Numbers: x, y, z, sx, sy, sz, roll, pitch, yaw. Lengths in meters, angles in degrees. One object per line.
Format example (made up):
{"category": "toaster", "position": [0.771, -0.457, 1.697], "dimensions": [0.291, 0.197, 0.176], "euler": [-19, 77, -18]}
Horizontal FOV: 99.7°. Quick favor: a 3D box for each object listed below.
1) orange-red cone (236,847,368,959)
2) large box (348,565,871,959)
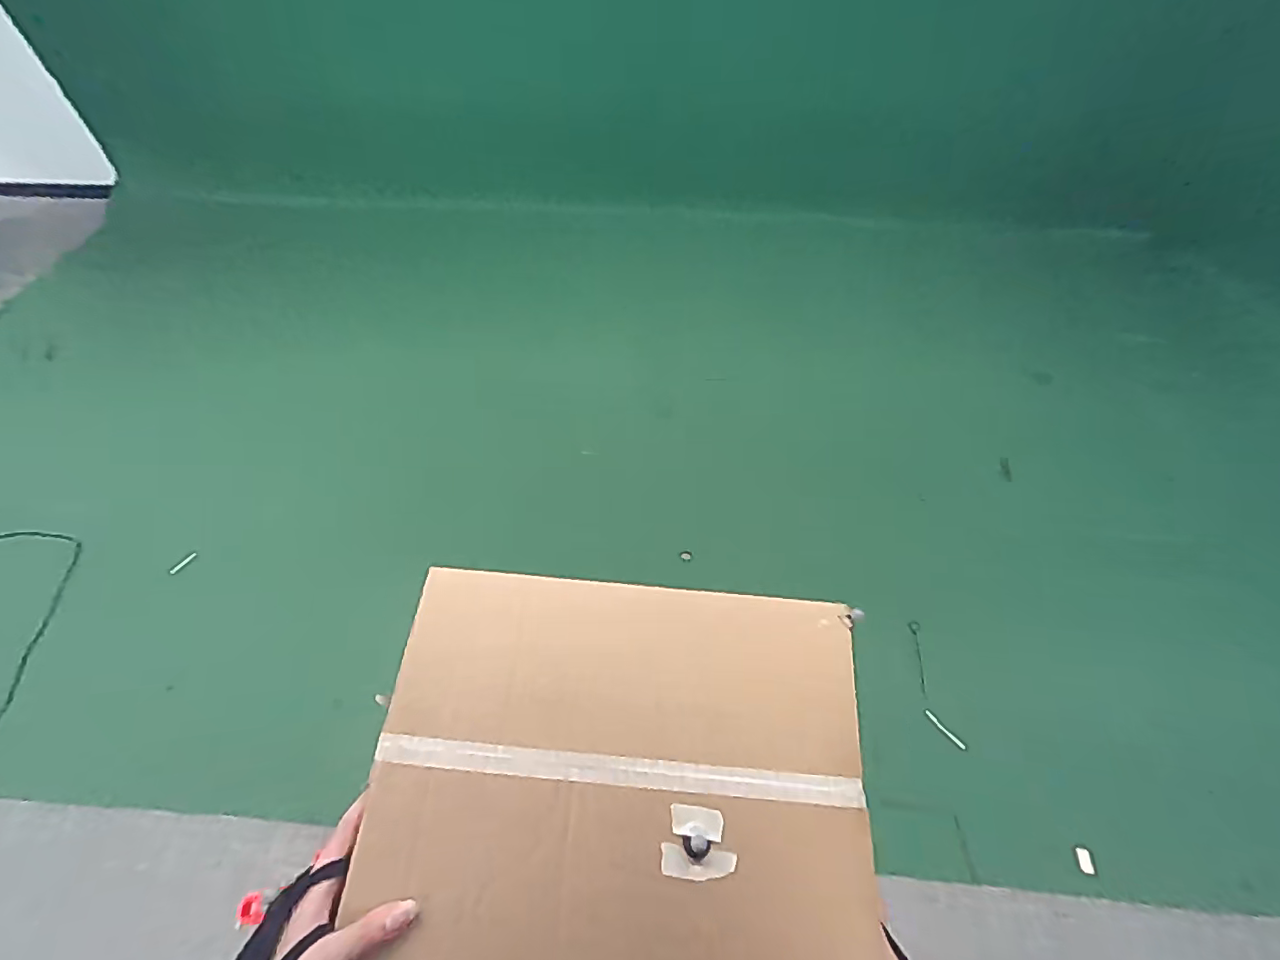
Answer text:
{"category": "orange-red cone", "position": [-0.707, 0.874, 1.112], "dimensions": [0.199, 0.360, 0.198], "euler": [8, 52, 9]}
{"category": "large box", "position": [-0.018, 0.302, 0.601], "dimensions": [0.408, 0.320, 0.320], "euler": [5, 64, 1]}
